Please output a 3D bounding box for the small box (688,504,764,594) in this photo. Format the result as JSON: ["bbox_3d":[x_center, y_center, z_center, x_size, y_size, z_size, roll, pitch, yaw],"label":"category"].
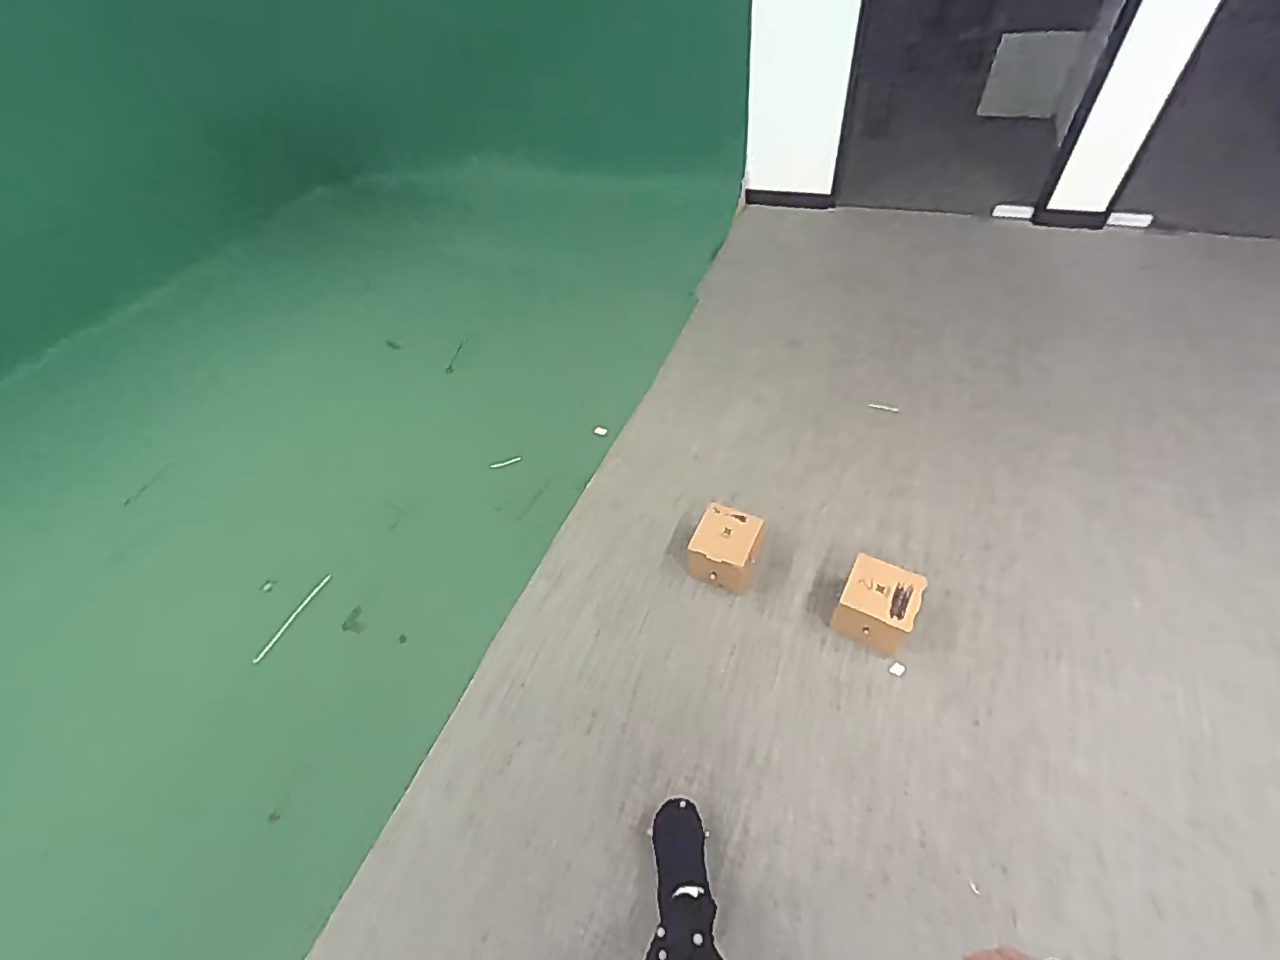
[{"bbox_3d":[0.254,0.206,1.586,0.168,0.176,0.179,19,58,22],"label":"small box"}]
